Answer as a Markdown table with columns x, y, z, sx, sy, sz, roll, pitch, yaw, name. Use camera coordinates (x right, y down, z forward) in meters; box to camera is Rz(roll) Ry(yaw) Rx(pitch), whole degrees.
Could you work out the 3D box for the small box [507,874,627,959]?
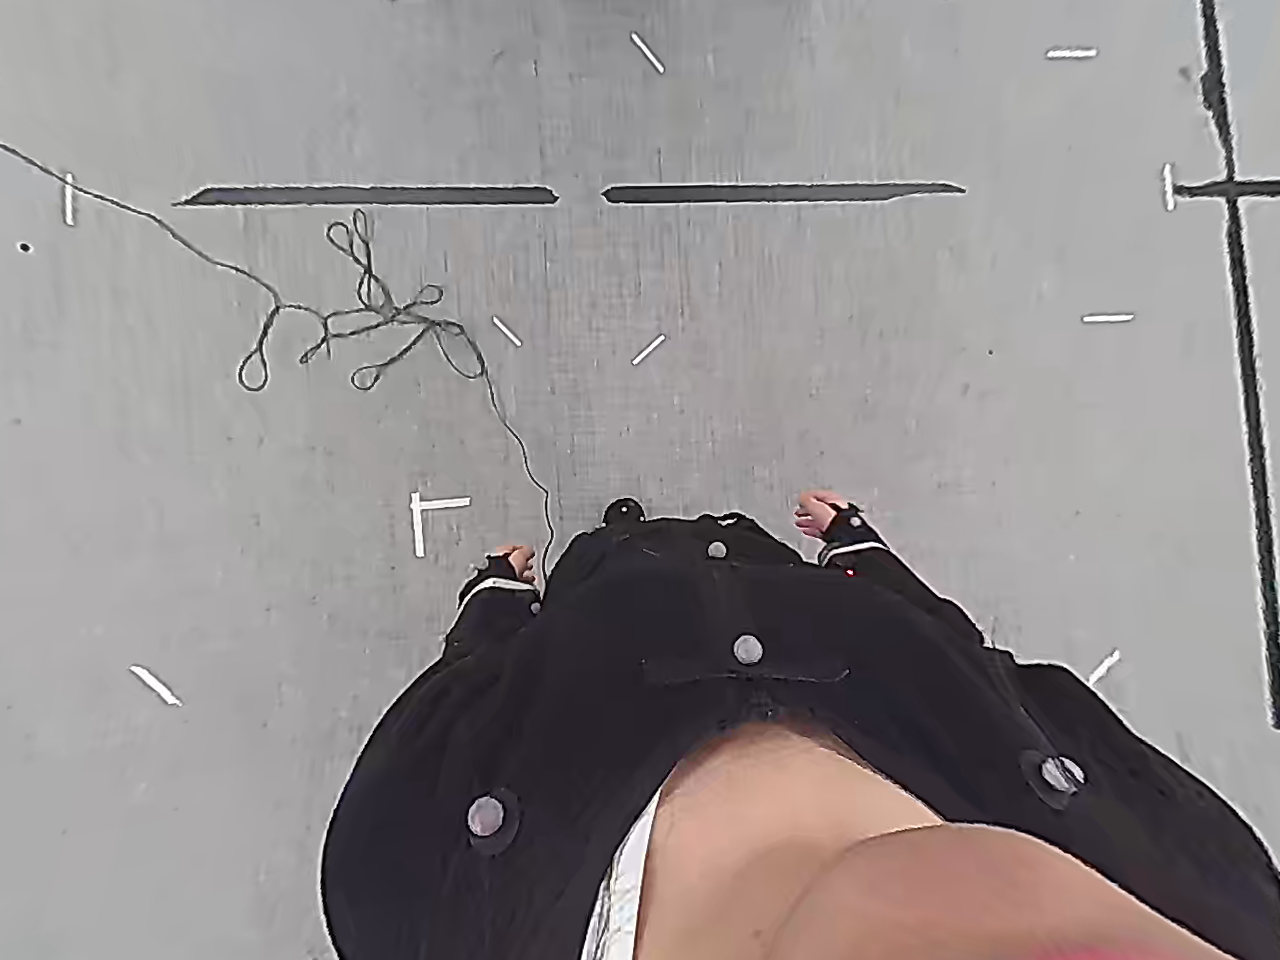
| x | y | z | sx | sy | sz | roll | pitch | yaw | name |
| --- | --- | --- | --- | --- | --- | --- | --- | --- | --- |
| -0.102 | 0.731 | 0.800 | 0.168 | 0.176 | 0.179 | -1 | 86 | -4 | small box |
